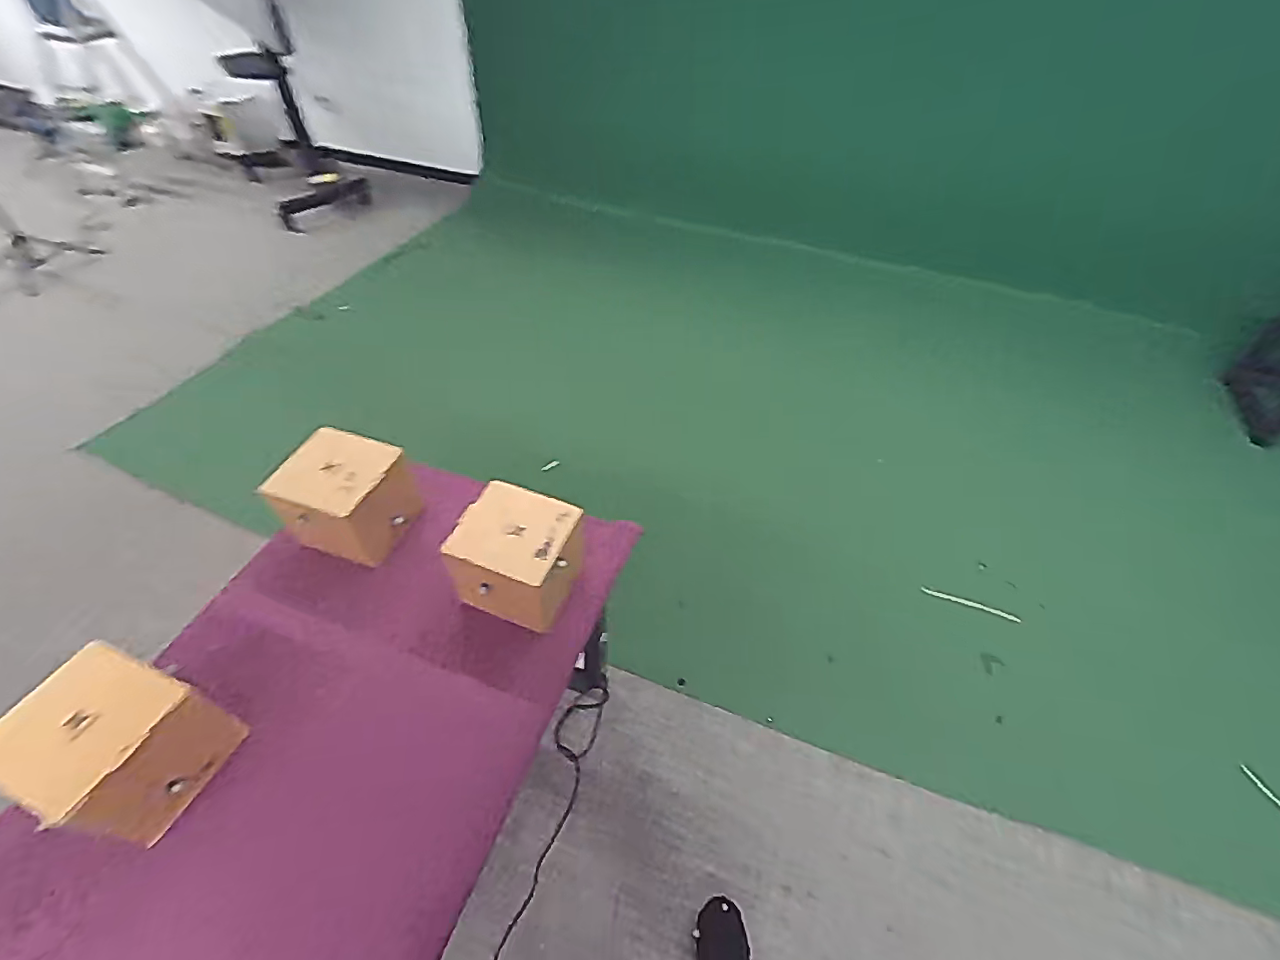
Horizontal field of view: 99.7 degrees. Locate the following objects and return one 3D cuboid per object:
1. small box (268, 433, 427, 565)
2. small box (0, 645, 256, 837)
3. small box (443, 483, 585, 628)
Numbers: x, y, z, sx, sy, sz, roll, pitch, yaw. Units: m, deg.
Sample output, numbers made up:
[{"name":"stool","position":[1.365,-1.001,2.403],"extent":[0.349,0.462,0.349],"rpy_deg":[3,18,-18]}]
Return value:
[{"name":"small box","position":[-0.544,0.041,1.033],"extent":[0.179,0.176,0.168],"rpy_deg":[15,53,11]},{"name":"small box","position":[-0.696,0.365,0.751],"extent":[0.179,0.176,0.168],"rpy_deg":[19,50,12]},{"name":"small box","position":[-0.211,0.138,0.957],"extent":[0.179,0.176,0.168],"rpy_deg":[17,52,13]}]
